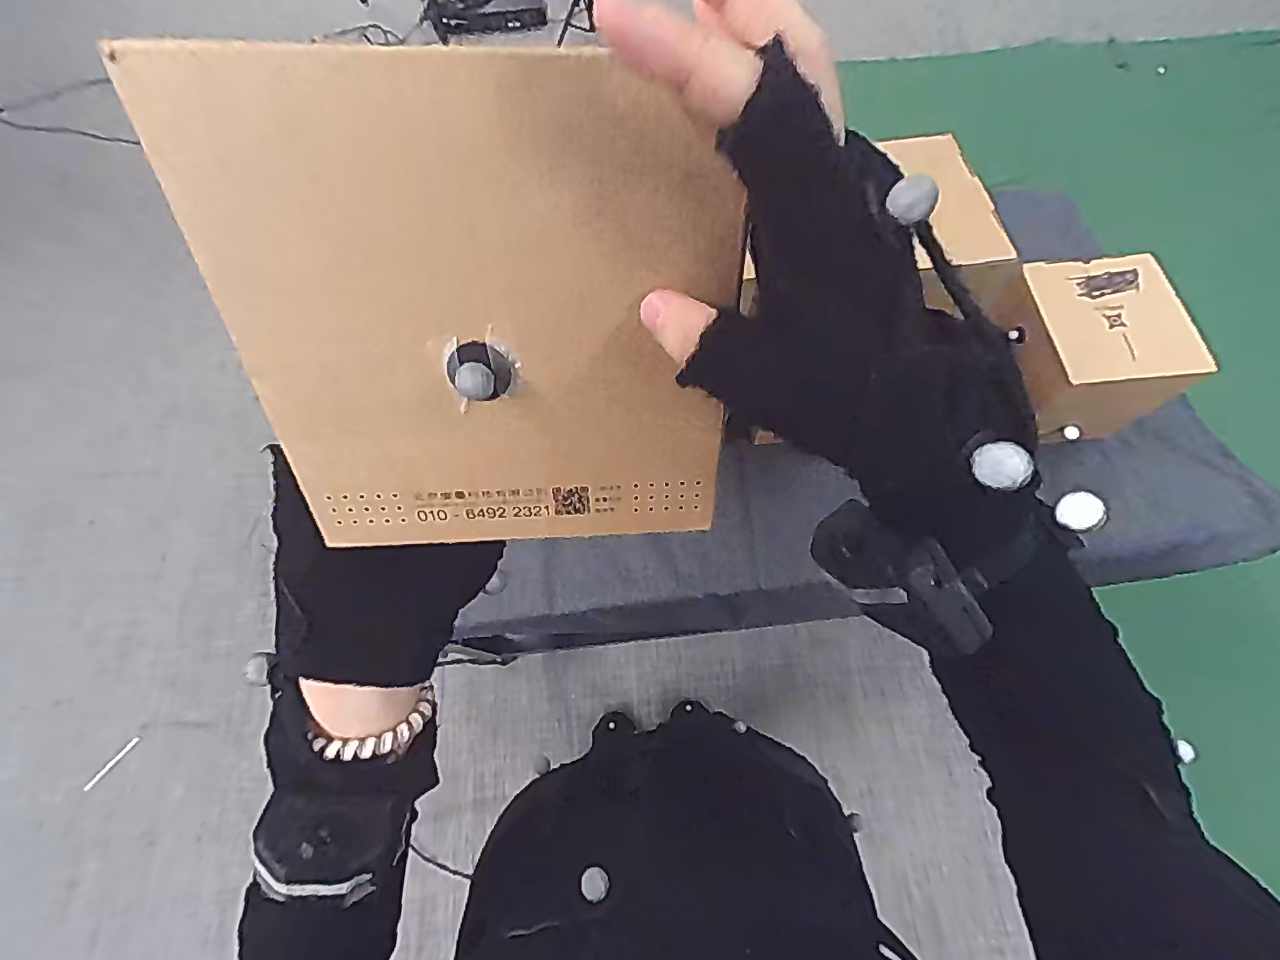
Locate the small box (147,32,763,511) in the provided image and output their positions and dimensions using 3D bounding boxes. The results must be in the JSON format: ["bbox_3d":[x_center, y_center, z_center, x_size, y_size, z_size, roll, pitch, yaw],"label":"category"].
[{"bbox_3d":[-0.051,-0.097,0.255,0.168,0.176,0.179,-2,36,-4],"label":"small box"}]
